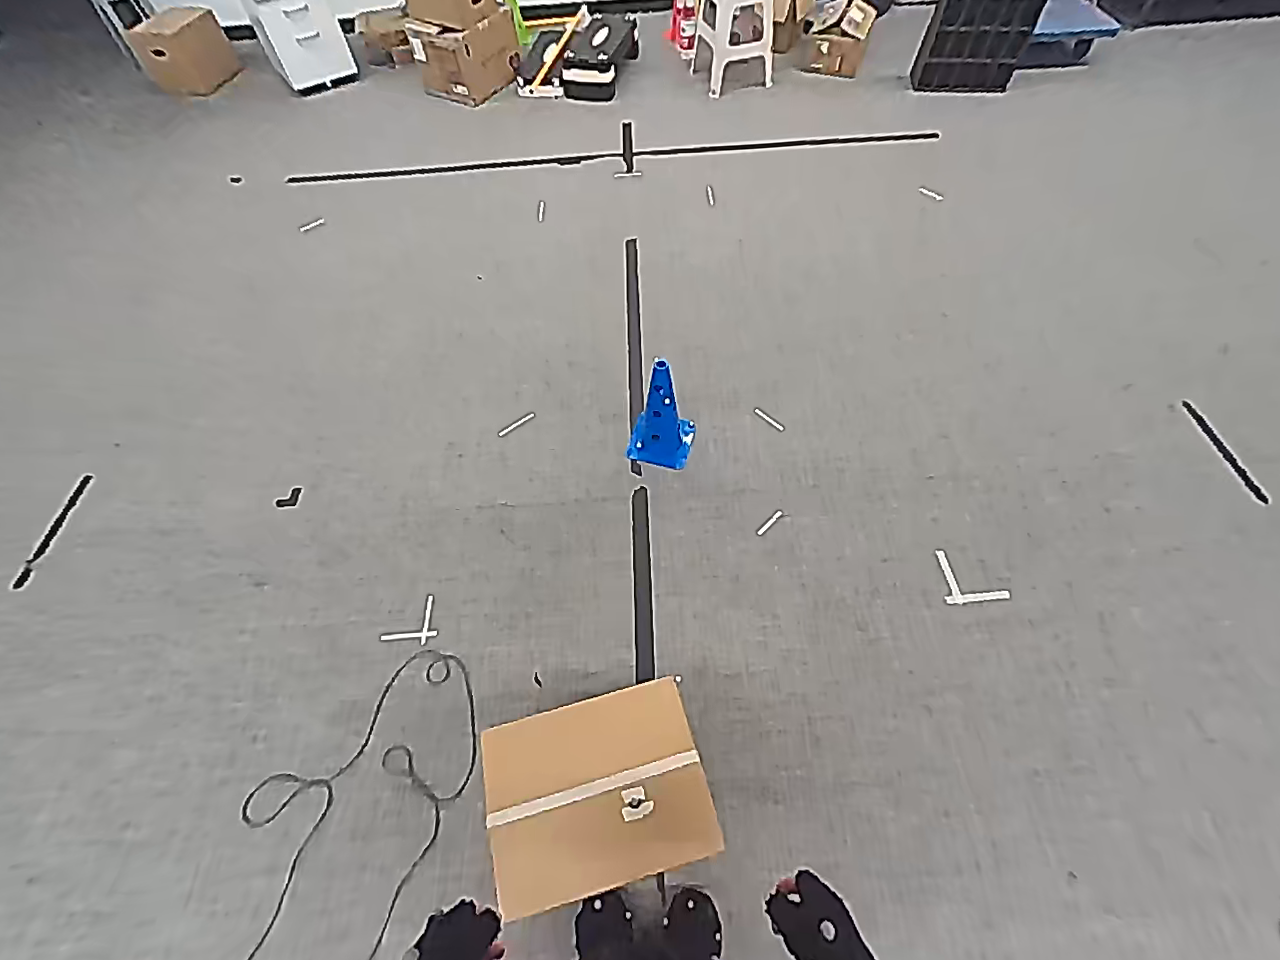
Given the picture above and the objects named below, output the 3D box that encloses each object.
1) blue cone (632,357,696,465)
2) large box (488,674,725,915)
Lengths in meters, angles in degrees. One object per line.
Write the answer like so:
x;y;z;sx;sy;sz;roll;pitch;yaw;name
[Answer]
0.073;-0.226;1.678;0.193;0.380;0.192;15;59;12;blue cone
-0.070;0.657;1.145;0.408;0.320;0.320;-14;57;-6;large box
